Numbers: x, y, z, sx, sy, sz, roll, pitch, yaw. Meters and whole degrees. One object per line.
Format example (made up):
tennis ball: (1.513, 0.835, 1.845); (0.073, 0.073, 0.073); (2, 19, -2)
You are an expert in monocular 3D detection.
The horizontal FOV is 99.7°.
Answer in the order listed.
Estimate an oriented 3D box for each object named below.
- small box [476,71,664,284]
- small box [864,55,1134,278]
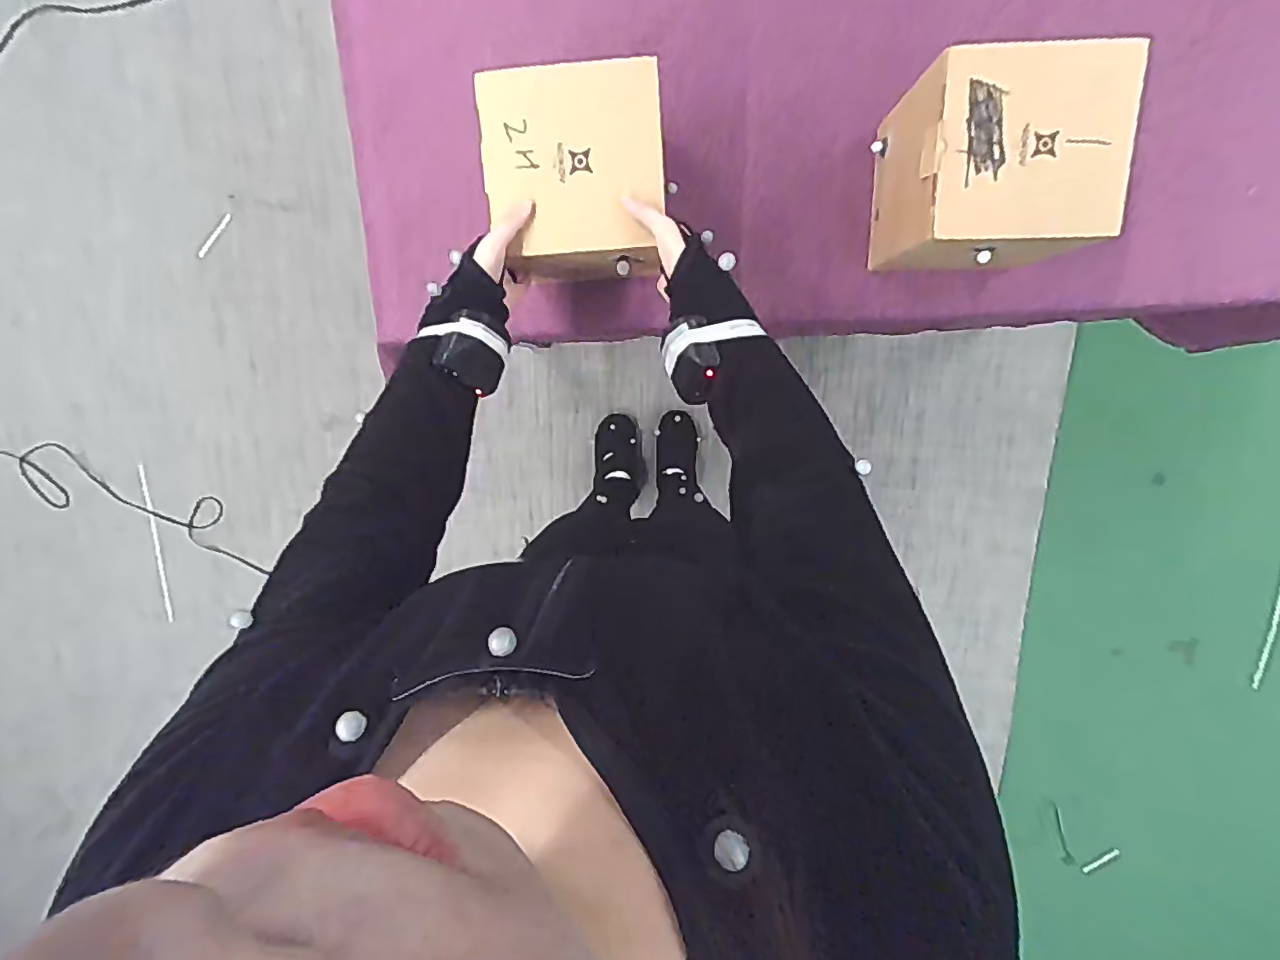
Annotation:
small box: (-0.064, -0.317, 0.601); (0.179, 0.176, 0.168); (-2, 101, 3)
small box: (0.359, -0.317, 0.581); (0.179, 0.176, 0.168); (1, 101, 2)
